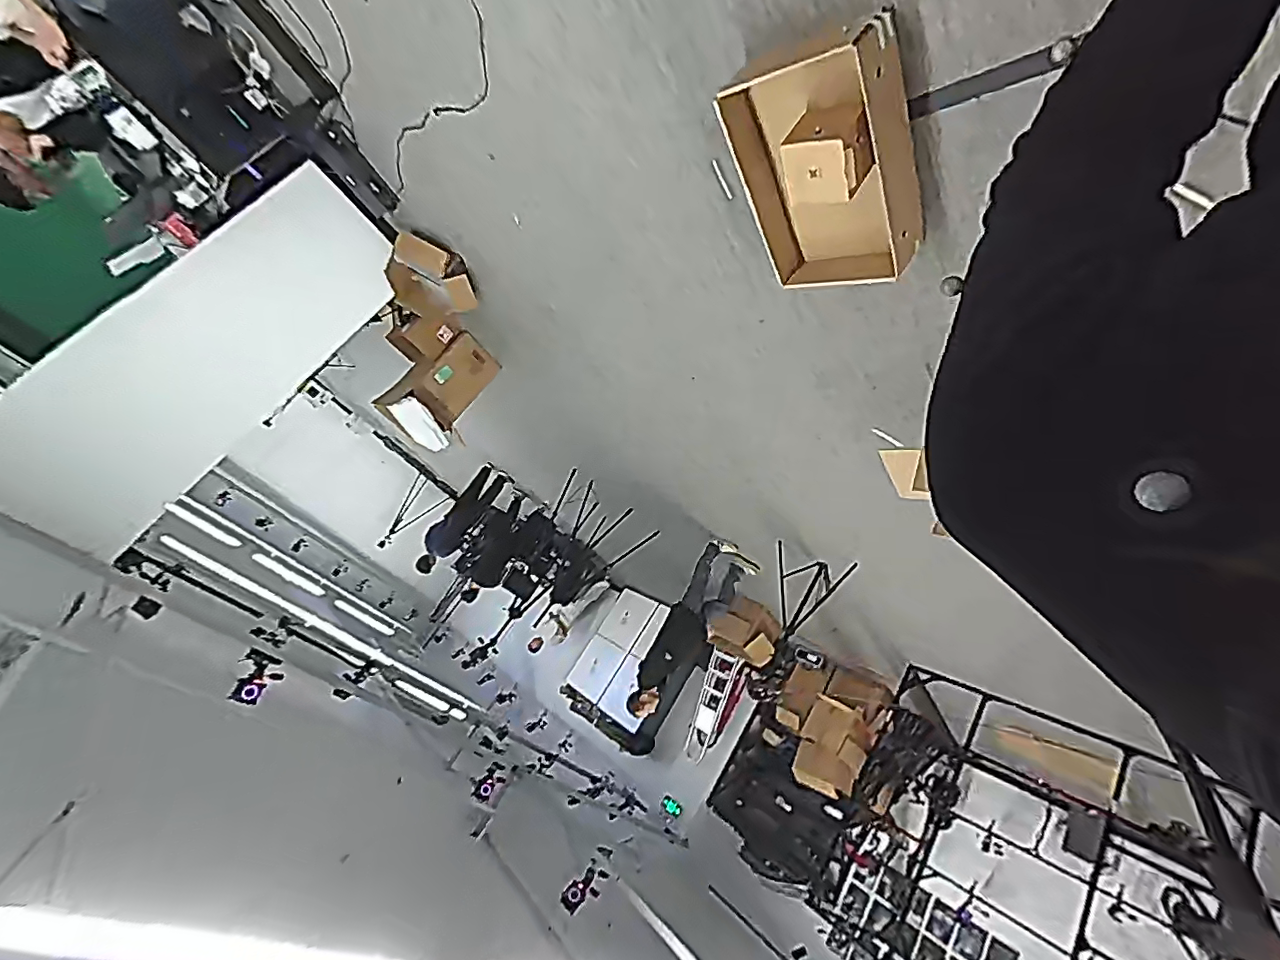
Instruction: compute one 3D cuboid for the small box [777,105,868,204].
[{"bbox_3d":[0.492,-0.862,1.438,0.179,0.176,0.168,20,156,36],"label":"small box"}]
